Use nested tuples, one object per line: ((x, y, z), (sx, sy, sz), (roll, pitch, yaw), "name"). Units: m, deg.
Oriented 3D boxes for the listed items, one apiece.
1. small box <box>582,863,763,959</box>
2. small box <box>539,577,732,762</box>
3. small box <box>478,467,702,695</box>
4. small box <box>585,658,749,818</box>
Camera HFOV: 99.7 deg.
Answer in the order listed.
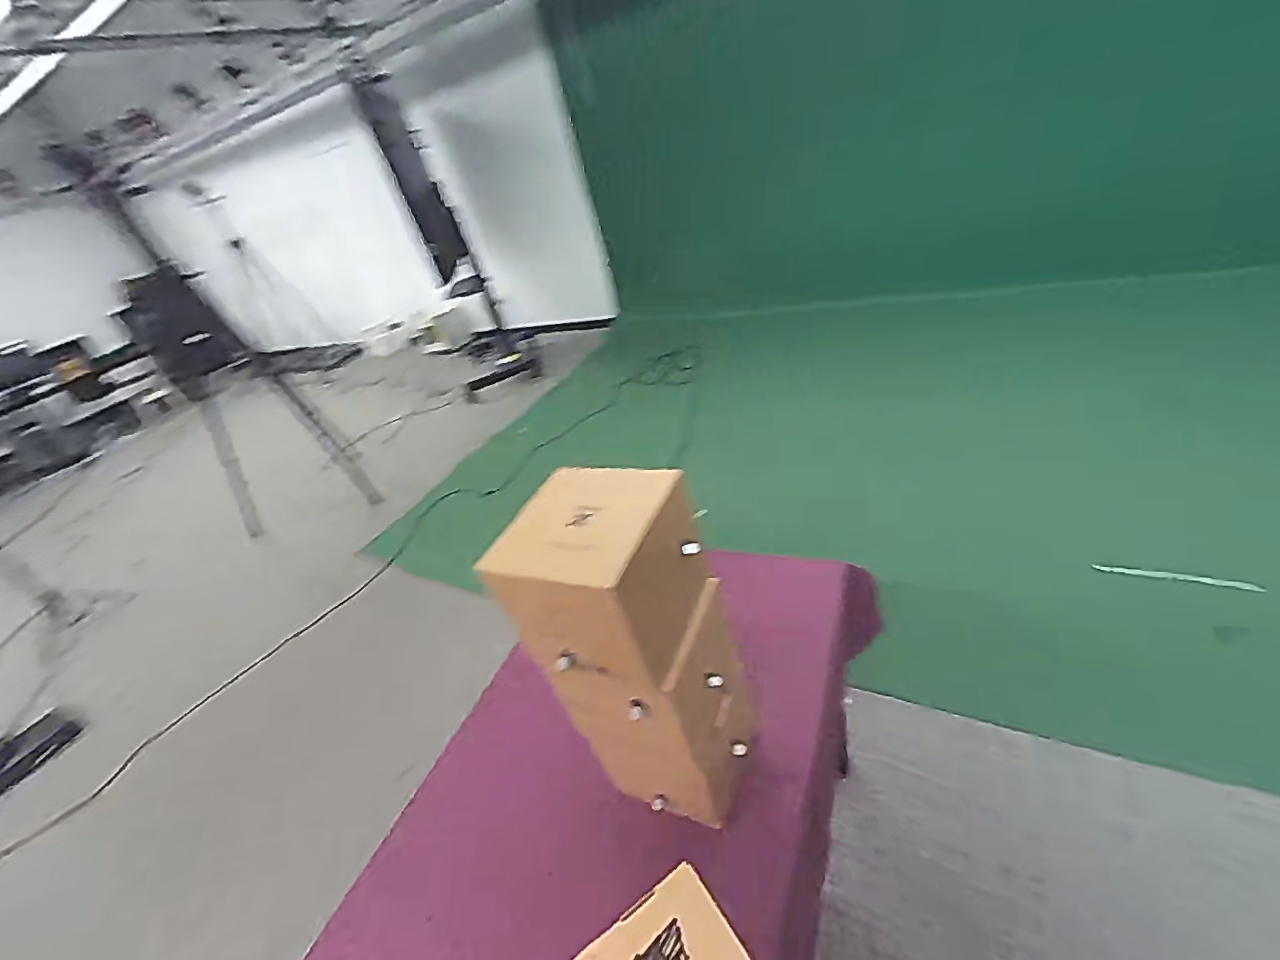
((0.038, 0.420, 0.368), (0.168, 0.176, 0.179), (-31, 43, -17), "small box")
((0.008, 0.231, 0.699), (0.179, 0.176, 0.168), (3, 39, 28), "small box")
((-0.040, 0.105, 0.608), (0.168, 0.176, 0.179), (2, 40, 29), "small box")
((0.051, 0.360, 0.793), (0.179, 0.176, 0.168), (4, 39, 28), "small box")
